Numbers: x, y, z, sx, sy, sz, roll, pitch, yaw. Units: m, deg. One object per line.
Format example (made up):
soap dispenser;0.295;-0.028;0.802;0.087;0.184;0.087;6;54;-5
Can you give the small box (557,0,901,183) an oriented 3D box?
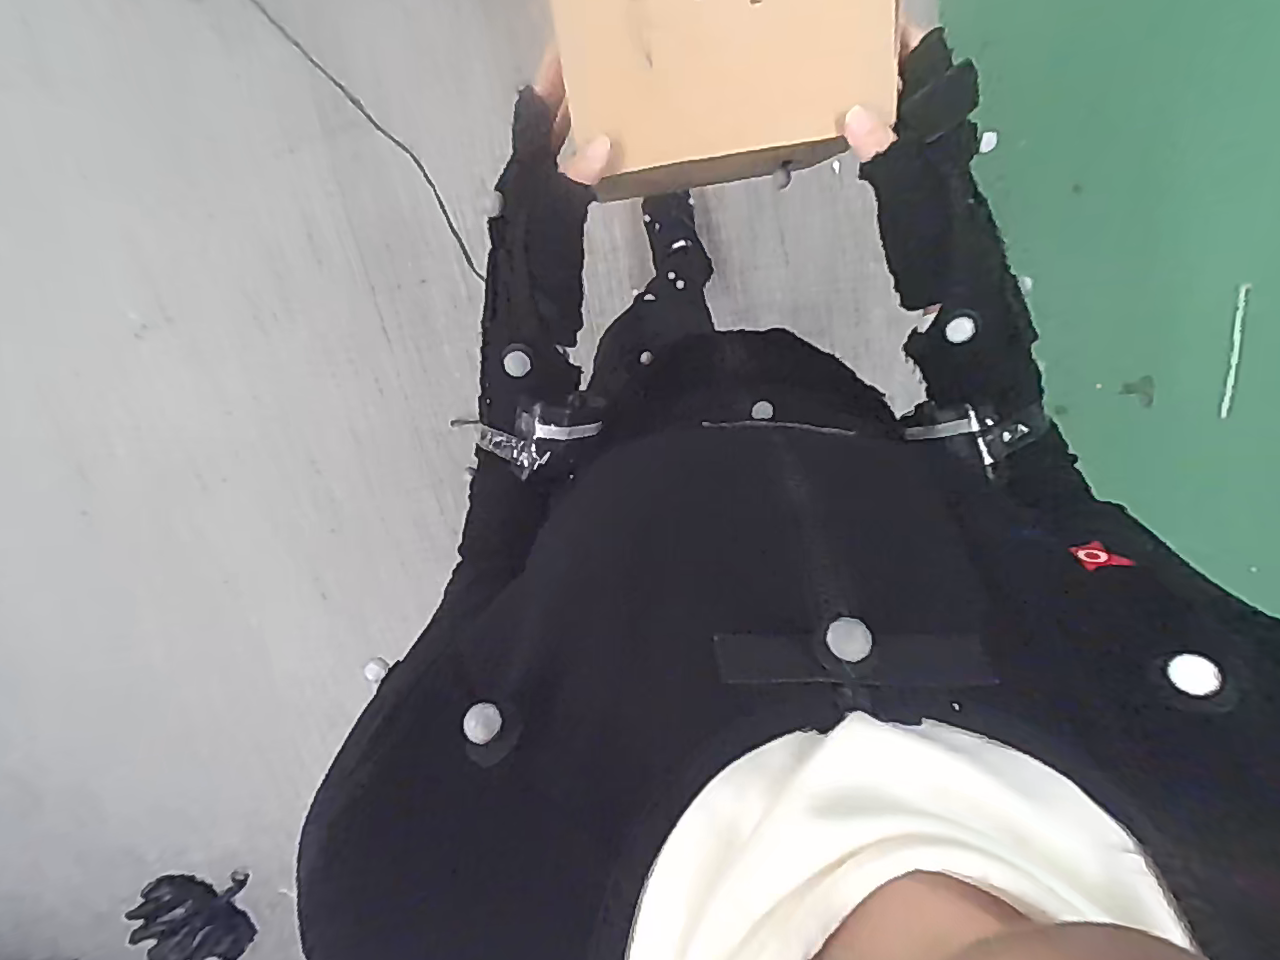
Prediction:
small box;0.040;-0.298;0.337;0.179;0.176;0.168;-9;112;3
